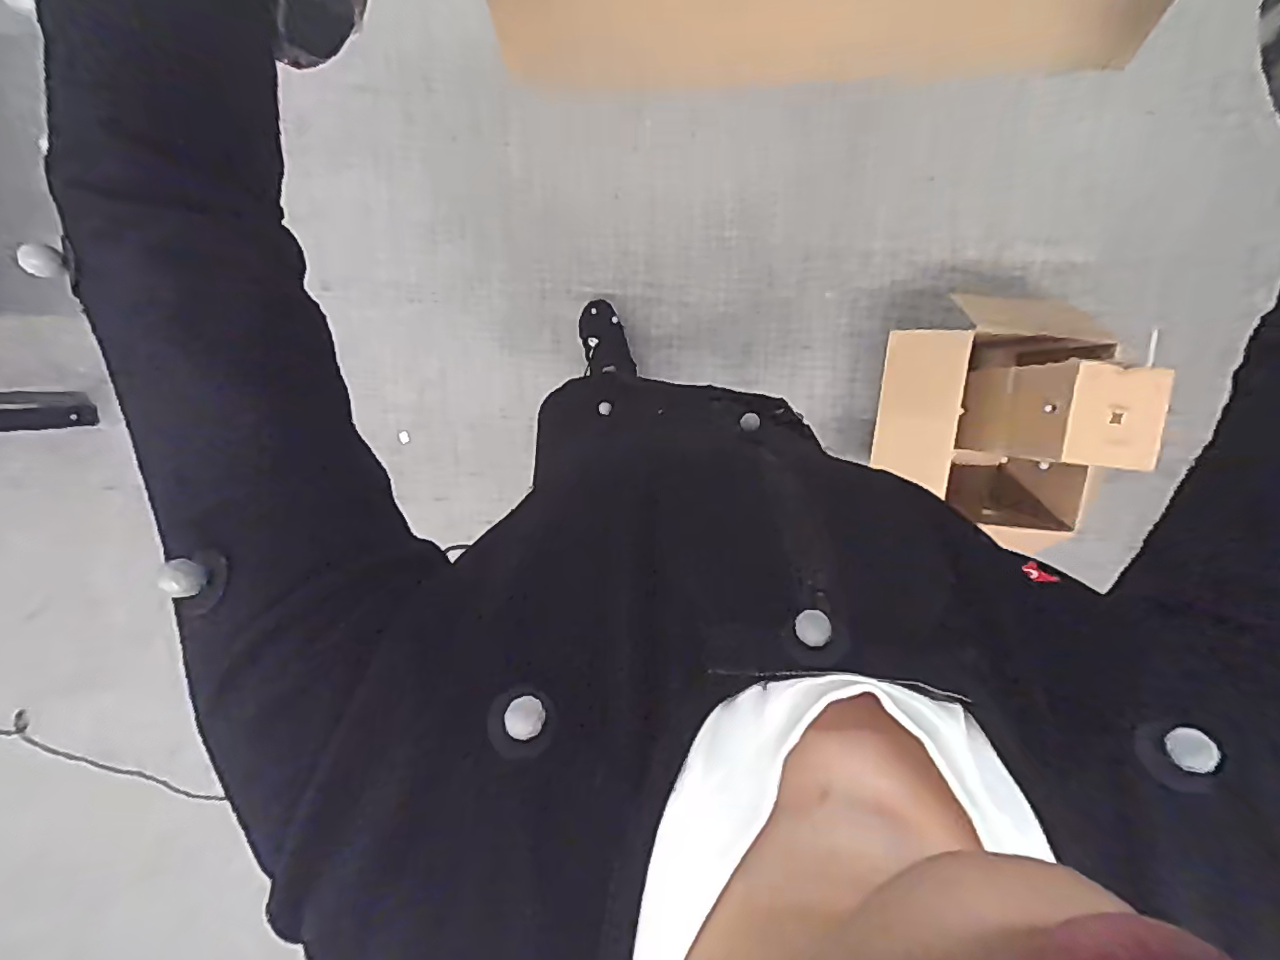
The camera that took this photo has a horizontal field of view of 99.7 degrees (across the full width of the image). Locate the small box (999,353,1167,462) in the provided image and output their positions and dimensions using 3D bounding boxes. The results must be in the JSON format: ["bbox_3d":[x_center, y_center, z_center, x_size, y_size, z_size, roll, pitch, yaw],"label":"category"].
[{"bbox_3d":[0.812,-0.134,1.011,0.168,0.176,0.179,5,98,-1],"label":"small box"}]
